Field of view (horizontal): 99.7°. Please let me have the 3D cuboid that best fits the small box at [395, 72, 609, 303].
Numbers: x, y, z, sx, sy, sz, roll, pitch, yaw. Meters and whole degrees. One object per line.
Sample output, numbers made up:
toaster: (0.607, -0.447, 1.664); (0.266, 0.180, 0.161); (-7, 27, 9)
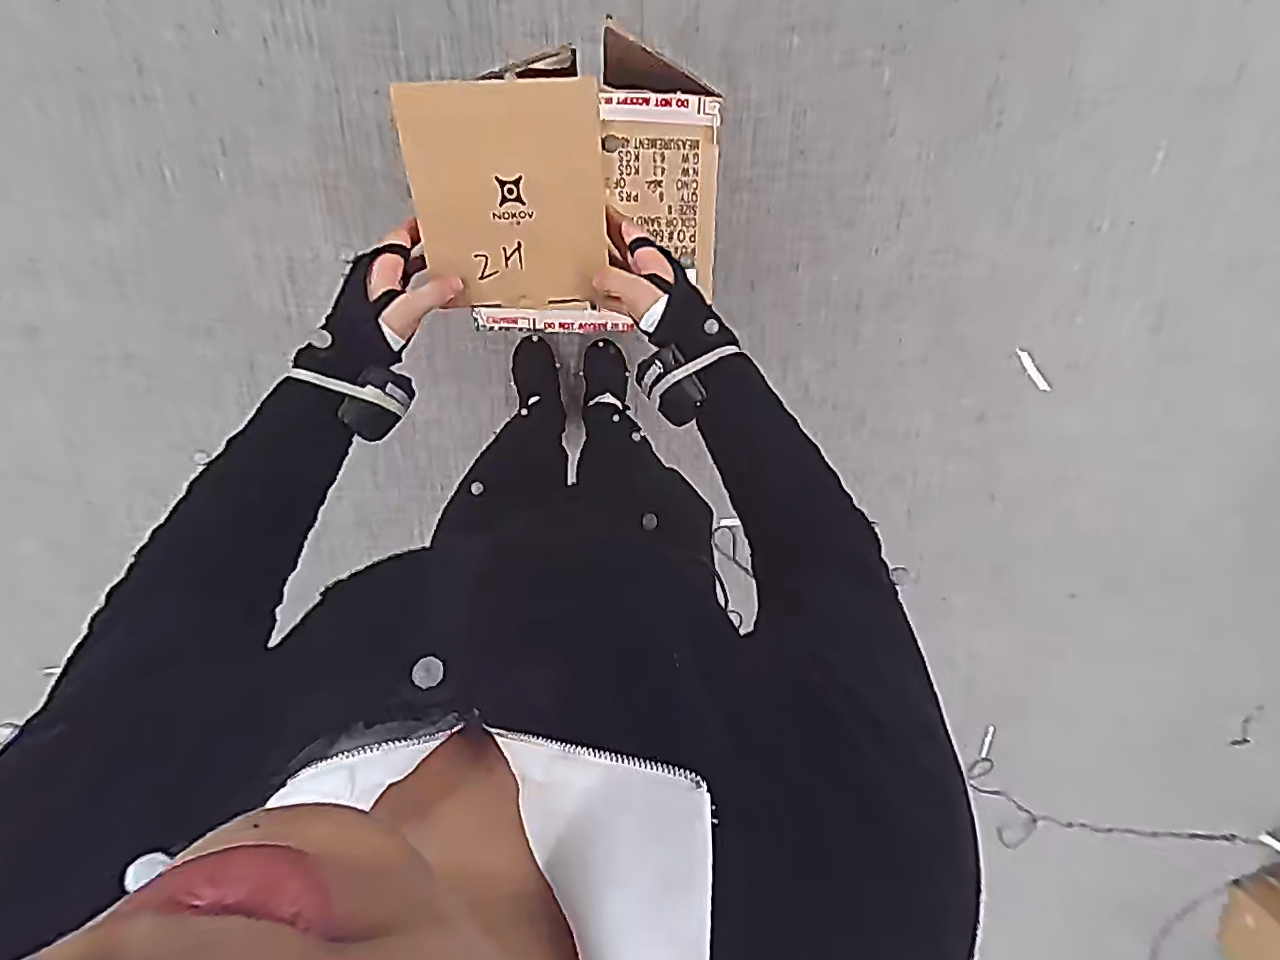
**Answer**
small box: (-0.121, -0.287, 0.543); (0.168, 0.176, 0.179); (-5, 120, -4)
